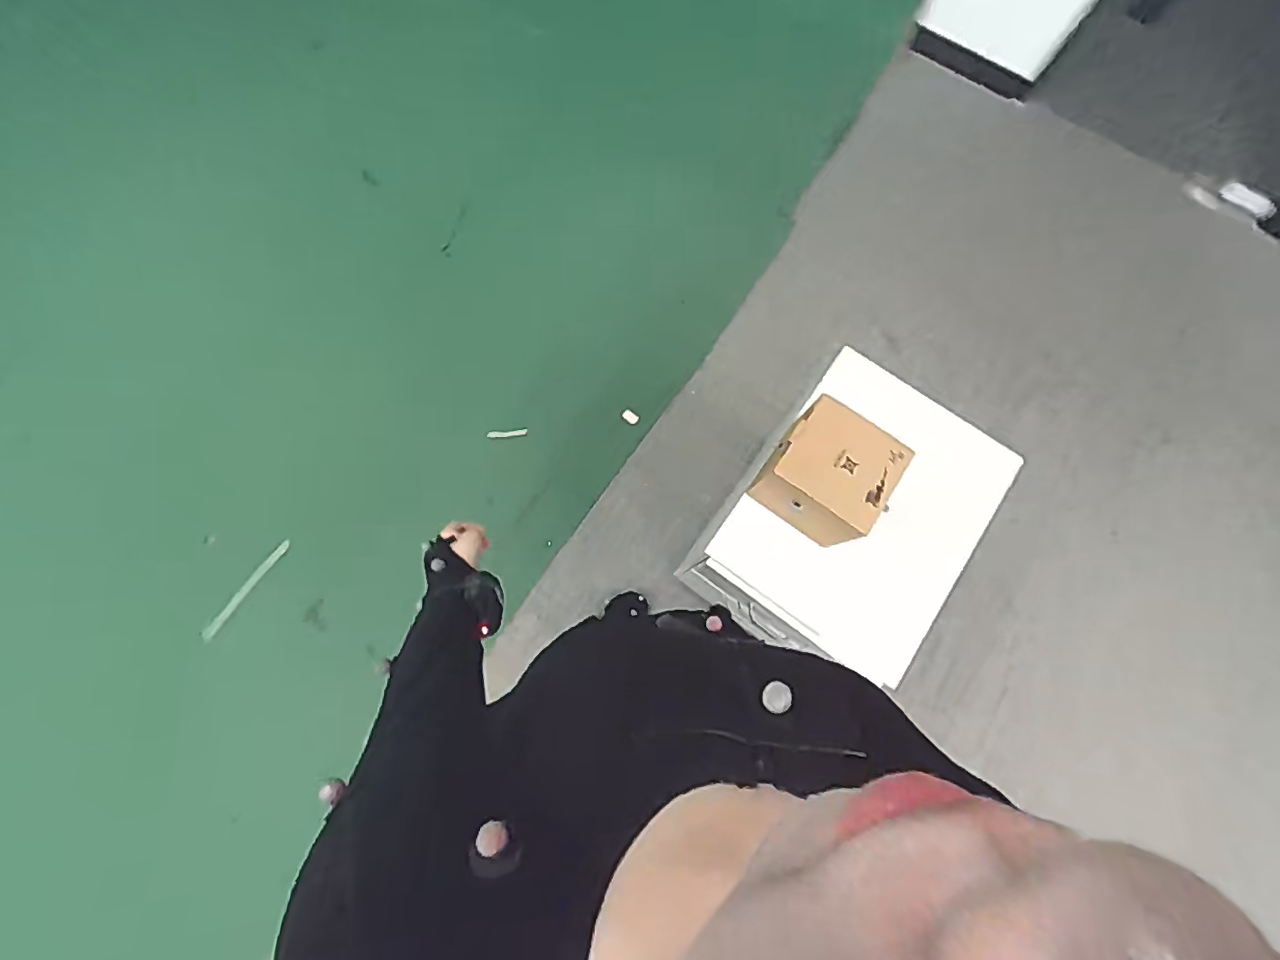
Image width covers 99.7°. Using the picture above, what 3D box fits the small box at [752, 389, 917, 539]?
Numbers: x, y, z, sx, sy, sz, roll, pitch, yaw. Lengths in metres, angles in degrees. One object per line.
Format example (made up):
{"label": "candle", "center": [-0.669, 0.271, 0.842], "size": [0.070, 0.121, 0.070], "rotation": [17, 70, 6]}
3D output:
{"label": "small box", "center": [0.313, -0.016, 0.911], "size": [0.179, 0.176, 0.168], "rotation": [35, 78, 6]}
